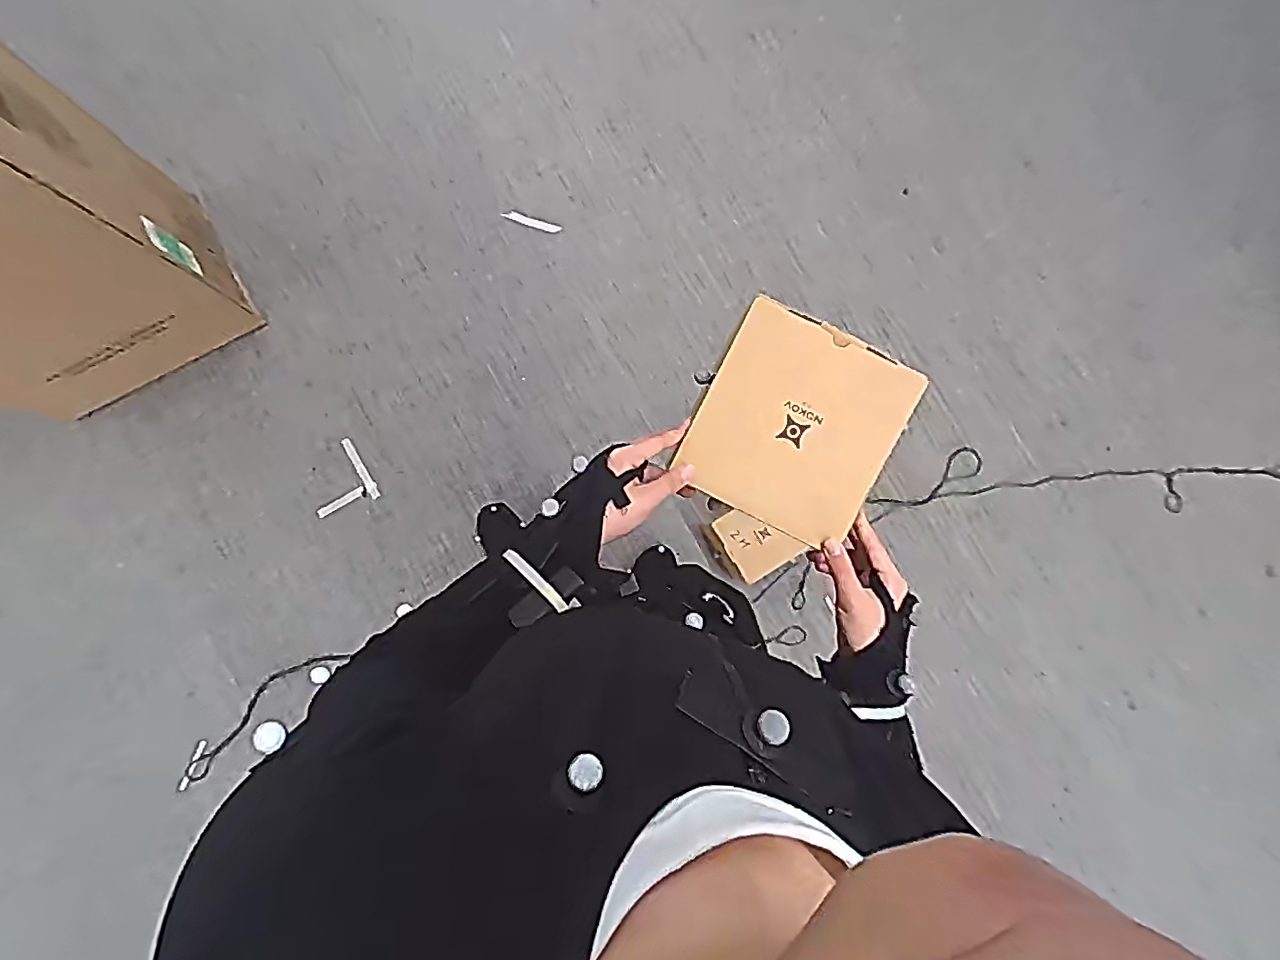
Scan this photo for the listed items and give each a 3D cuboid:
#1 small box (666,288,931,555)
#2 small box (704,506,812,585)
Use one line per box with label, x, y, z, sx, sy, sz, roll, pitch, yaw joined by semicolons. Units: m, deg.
small box;0.136;-0.052;0.533;0.168;0.176;0.179;26;94;0
small box;0.275;0.132;1.300;0.179;0.176;0.168;-30;86;-4
